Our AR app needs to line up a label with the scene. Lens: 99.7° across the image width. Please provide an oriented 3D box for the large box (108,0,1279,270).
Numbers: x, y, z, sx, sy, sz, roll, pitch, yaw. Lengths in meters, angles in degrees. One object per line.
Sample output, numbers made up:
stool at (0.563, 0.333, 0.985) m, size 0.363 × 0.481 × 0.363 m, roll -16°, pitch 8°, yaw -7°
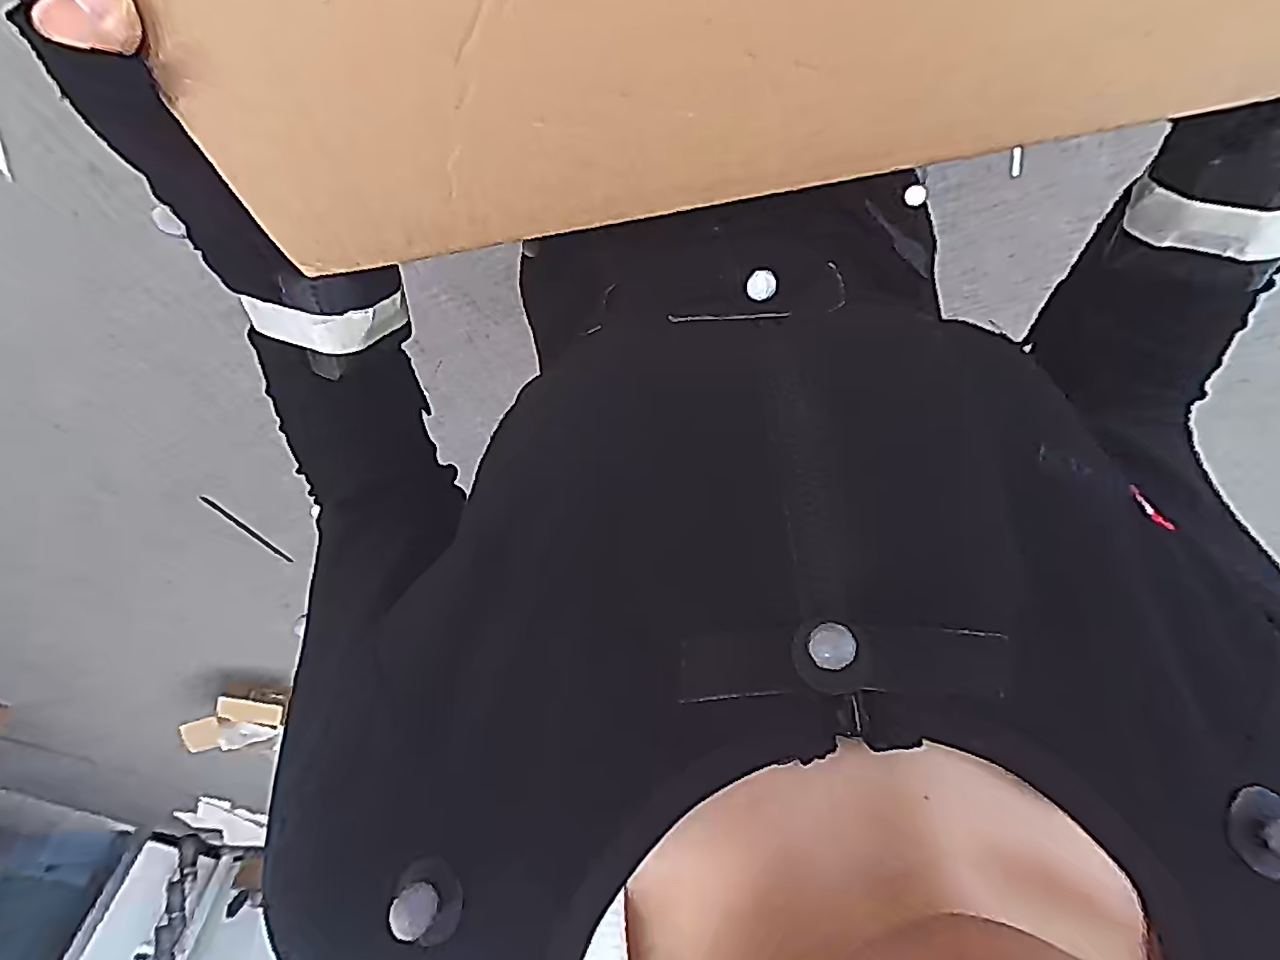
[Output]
large box at (0.013, -0.332, 0.187) m, size 0.408 × 0.320 × 0.320 m, roll -7°, pitch 145°, yaw 9°
